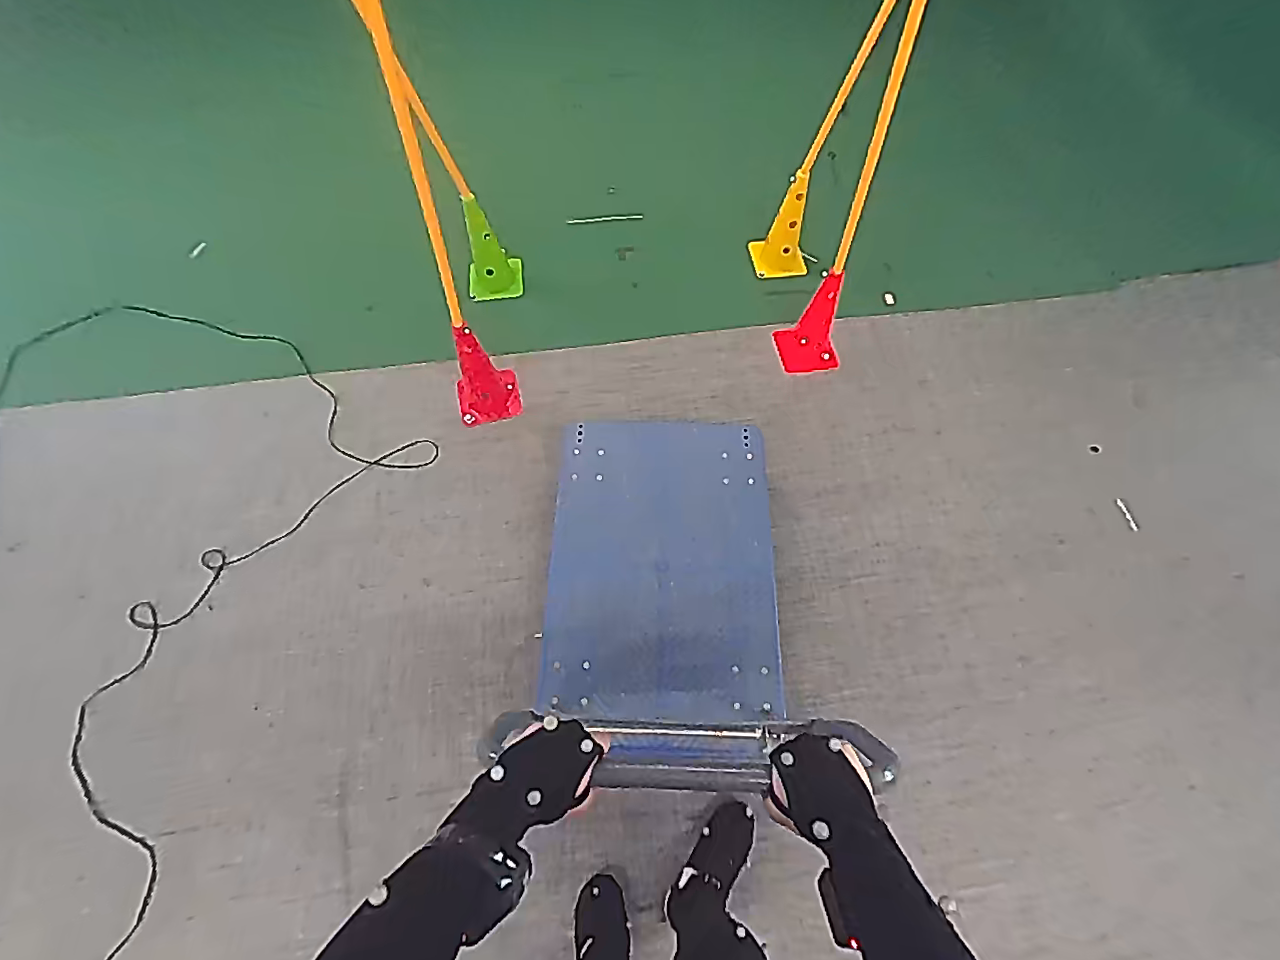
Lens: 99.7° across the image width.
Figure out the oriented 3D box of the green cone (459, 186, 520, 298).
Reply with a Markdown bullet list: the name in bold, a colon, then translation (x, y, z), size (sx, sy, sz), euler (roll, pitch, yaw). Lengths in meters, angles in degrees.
- **green cone**: translation (-0.558, -0.851, 1.901), size (0.200, 0.368, 0.202), euler (-7, 63, -3)

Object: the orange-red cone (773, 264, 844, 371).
- **orange-red cone**: translation (0.584, -0.549, 1.758), size (0.198, 0.360, 0.199), euler (-6, 62, -4)
